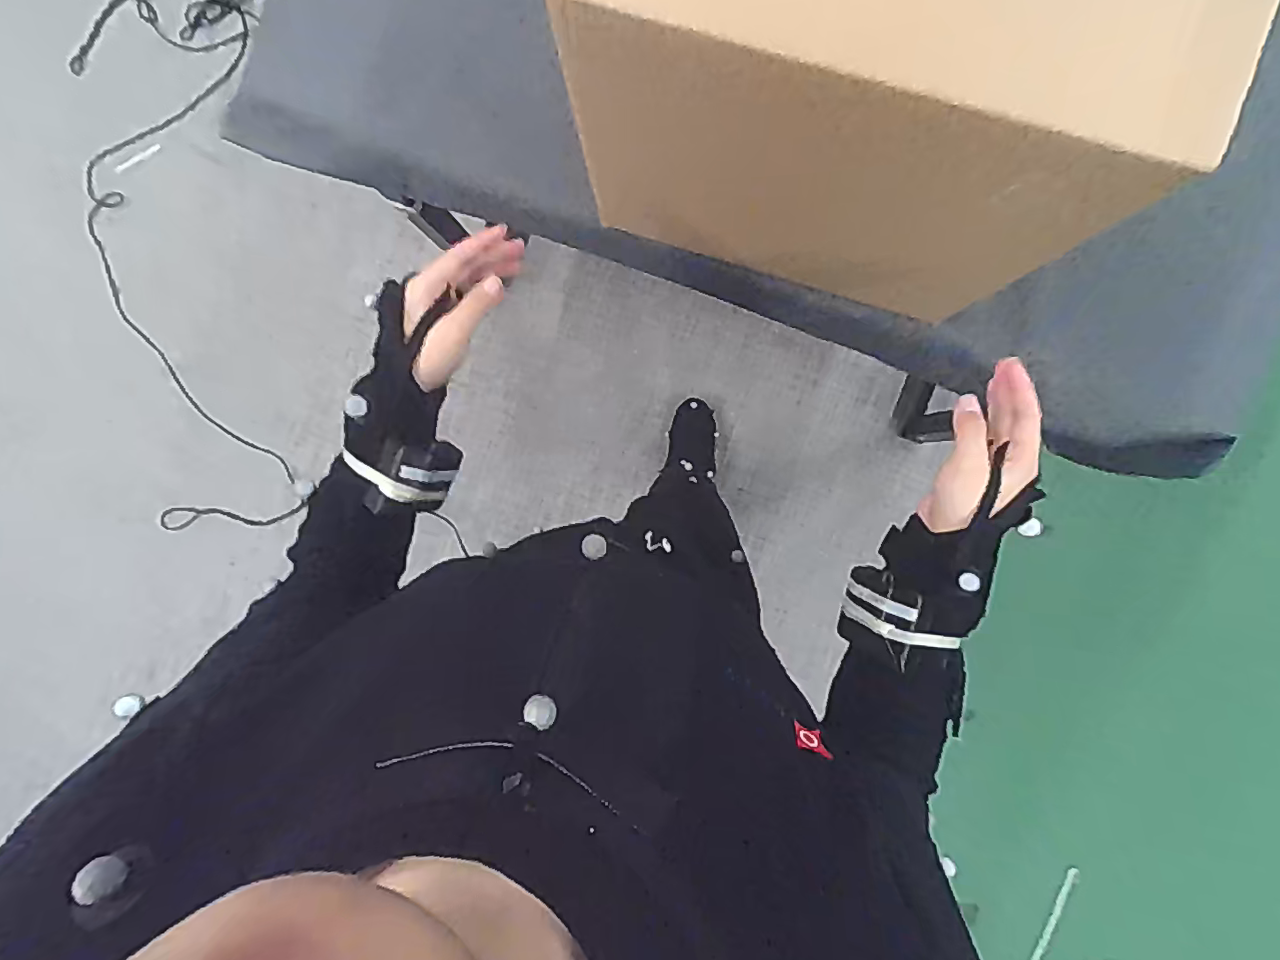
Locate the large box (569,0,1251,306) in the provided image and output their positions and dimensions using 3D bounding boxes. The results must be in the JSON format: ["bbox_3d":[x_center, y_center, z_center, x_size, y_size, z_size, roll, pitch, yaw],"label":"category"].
[{"bbox_3d":[0.184,-0.391,0.468,0.408,0.320,0.320,17,92,1],"label":"large box"}]
